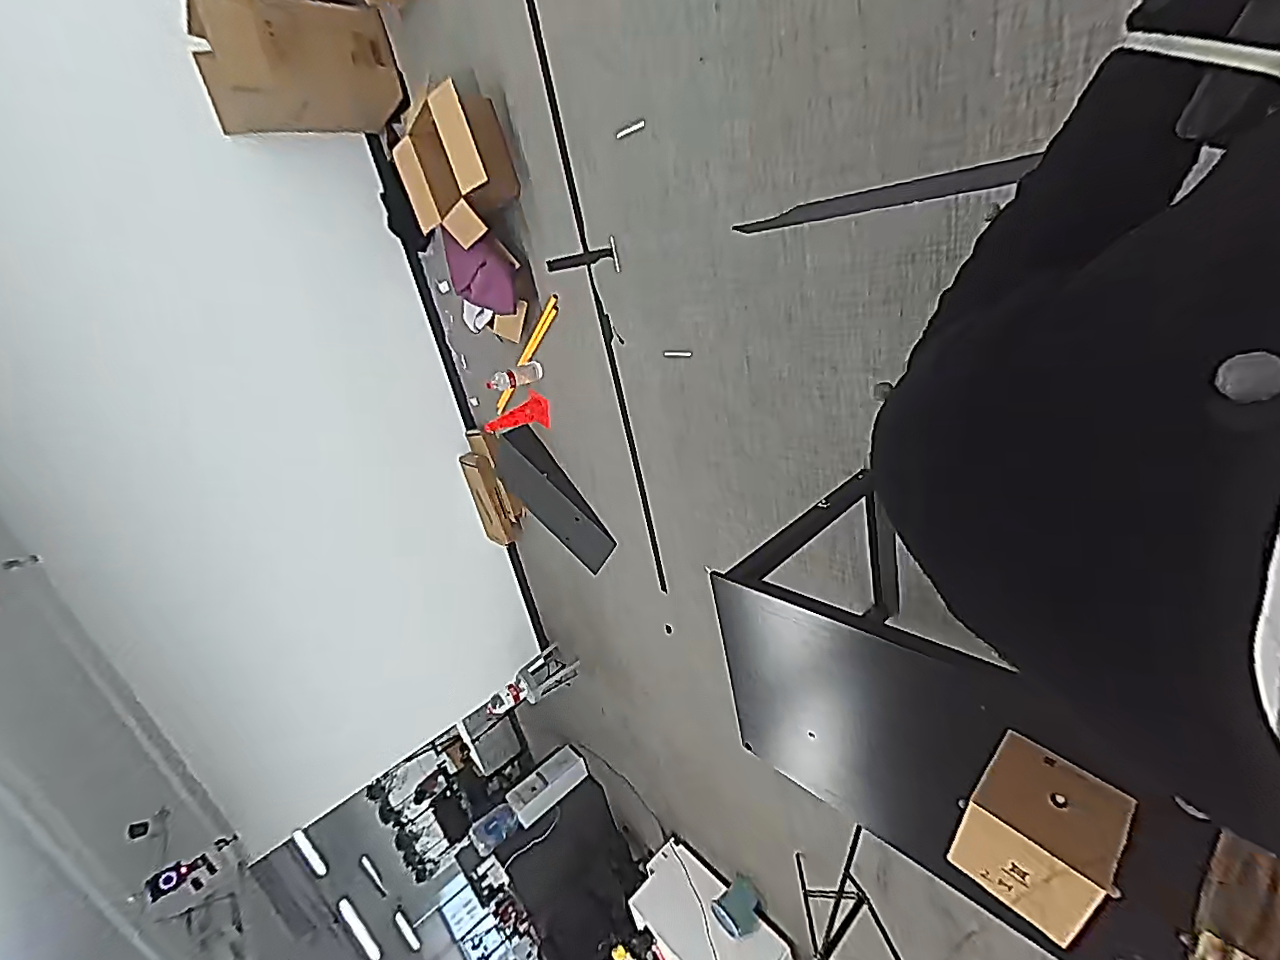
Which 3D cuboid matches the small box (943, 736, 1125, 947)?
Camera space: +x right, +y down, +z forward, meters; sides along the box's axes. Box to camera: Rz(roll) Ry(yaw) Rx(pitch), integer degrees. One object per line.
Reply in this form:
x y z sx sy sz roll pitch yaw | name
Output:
0.603 0.541 0.831 0.168 0.176 0.179 27 134 42 | small box

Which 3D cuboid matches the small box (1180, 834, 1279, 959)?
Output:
0.769 0.570 0.628 0.179 0.176 0.168 15 125 47 | small box
